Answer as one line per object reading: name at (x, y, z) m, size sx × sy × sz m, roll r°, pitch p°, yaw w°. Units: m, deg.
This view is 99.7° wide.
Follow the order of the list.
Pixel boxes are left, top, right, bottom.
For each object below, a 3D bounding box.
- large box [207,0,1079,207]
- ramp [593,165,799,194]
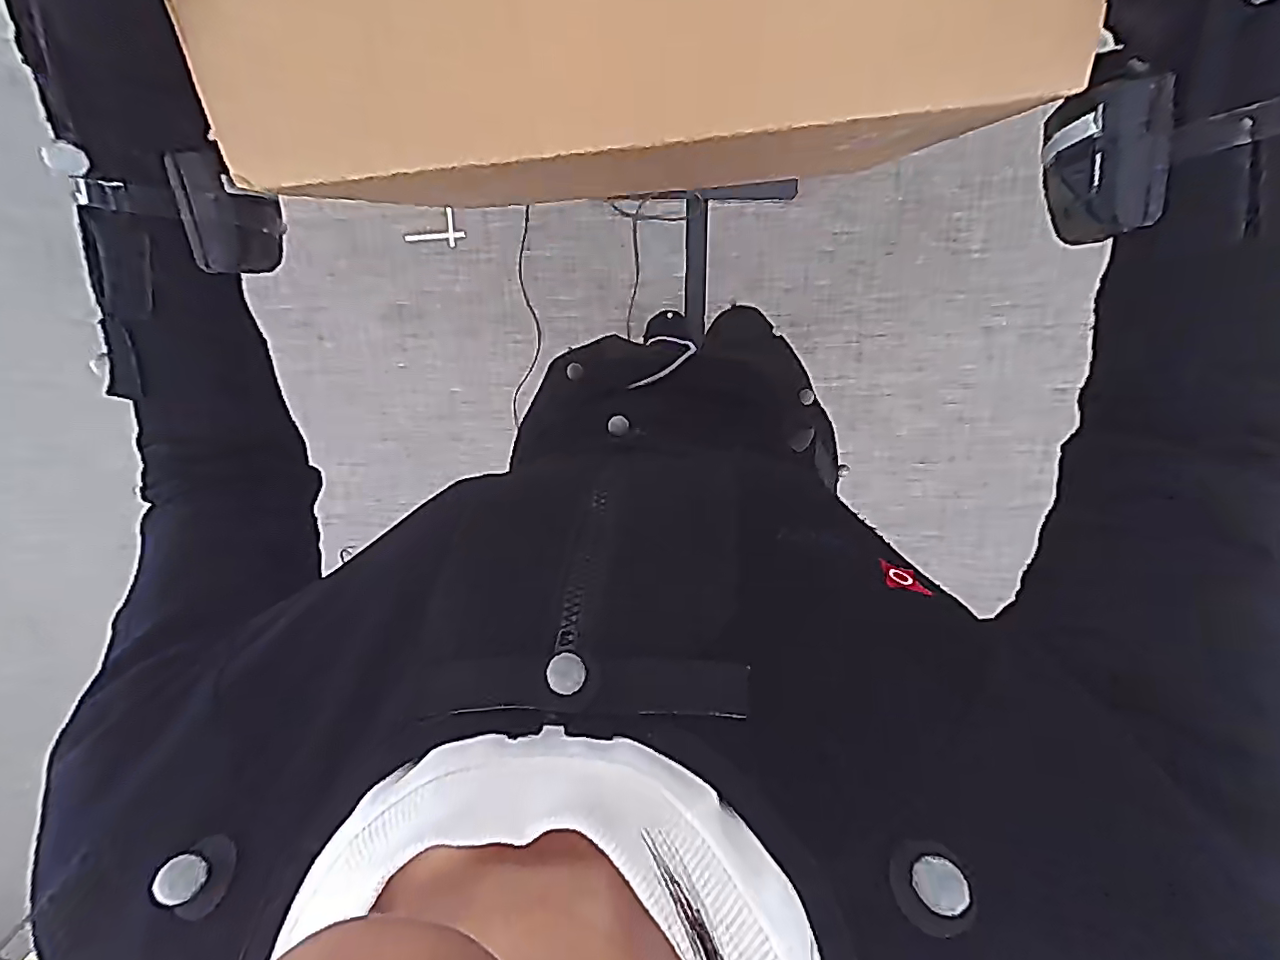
large box at (-0.008, -0.373, 0.342) m, size 0.408 × 0.320 × 0.320 m, roll -3°, pitch 115°, yaw 6°
ramp at (0.122, -1.116, 1.042) m, size 0.509 × 0.206 × 0.991 m, roll 1°, pitch 107°, yaw 4°
